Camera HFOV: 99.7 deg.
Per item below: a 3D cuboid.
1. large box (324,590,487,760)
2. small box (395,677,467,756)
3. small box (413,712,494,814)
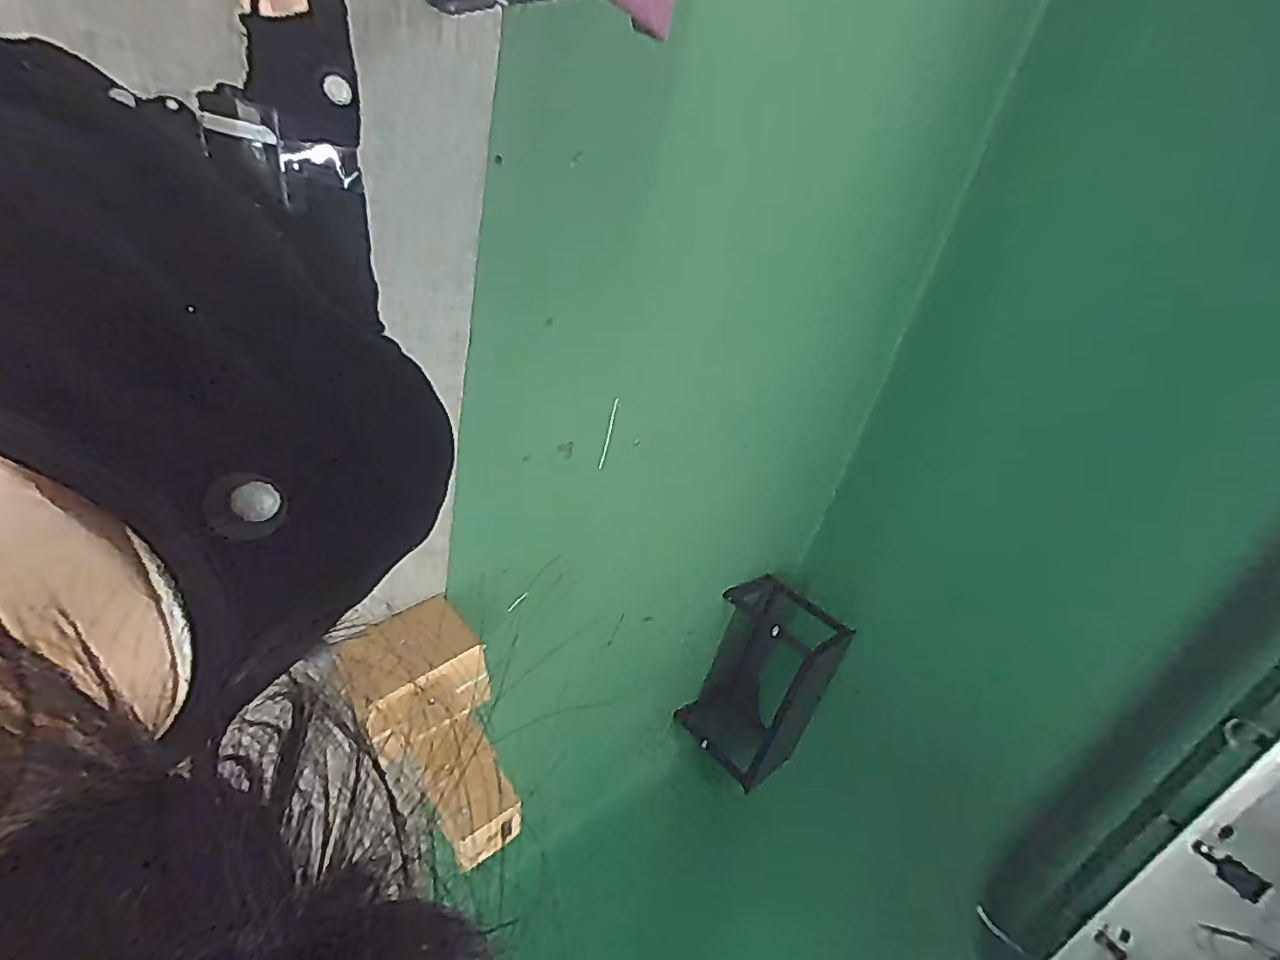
[{"bbox_3d":[-0.805,0.661,1.888,0.408,0.320,0.320,-26,135,-36],"label":"large box"},{"bbox_3d":[-0.659,0.755,1.709,0.168,0.176,0.179,-19,130,-38],"label":"small box"},{"bbox_3d":[-0.555,0.834,1.613,0.179,0.176,0.168,-18,129,-39],"label":"small box"}]
